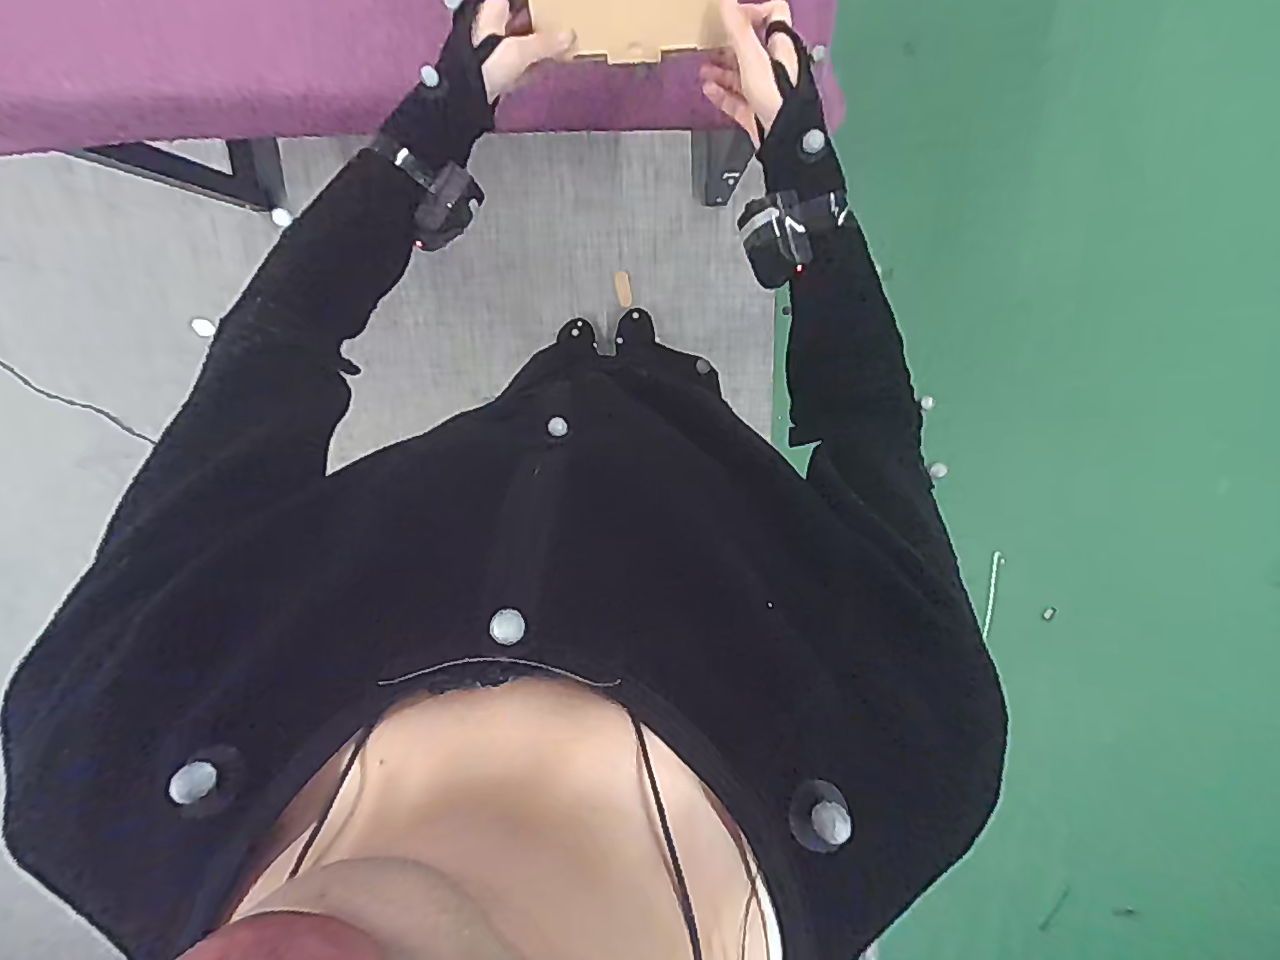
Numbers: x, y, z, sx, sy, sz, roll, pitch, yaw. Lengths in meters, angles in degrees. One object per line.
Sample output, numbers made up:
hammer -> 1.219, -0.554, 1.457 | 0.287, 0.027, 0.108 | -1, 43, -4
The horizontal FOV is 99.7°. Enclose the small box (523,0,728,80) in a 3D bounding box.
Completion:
small box -> -0.007, -0.458, 0.458 | 0.168, 0.176, 0.179 | 0, 129, 5
